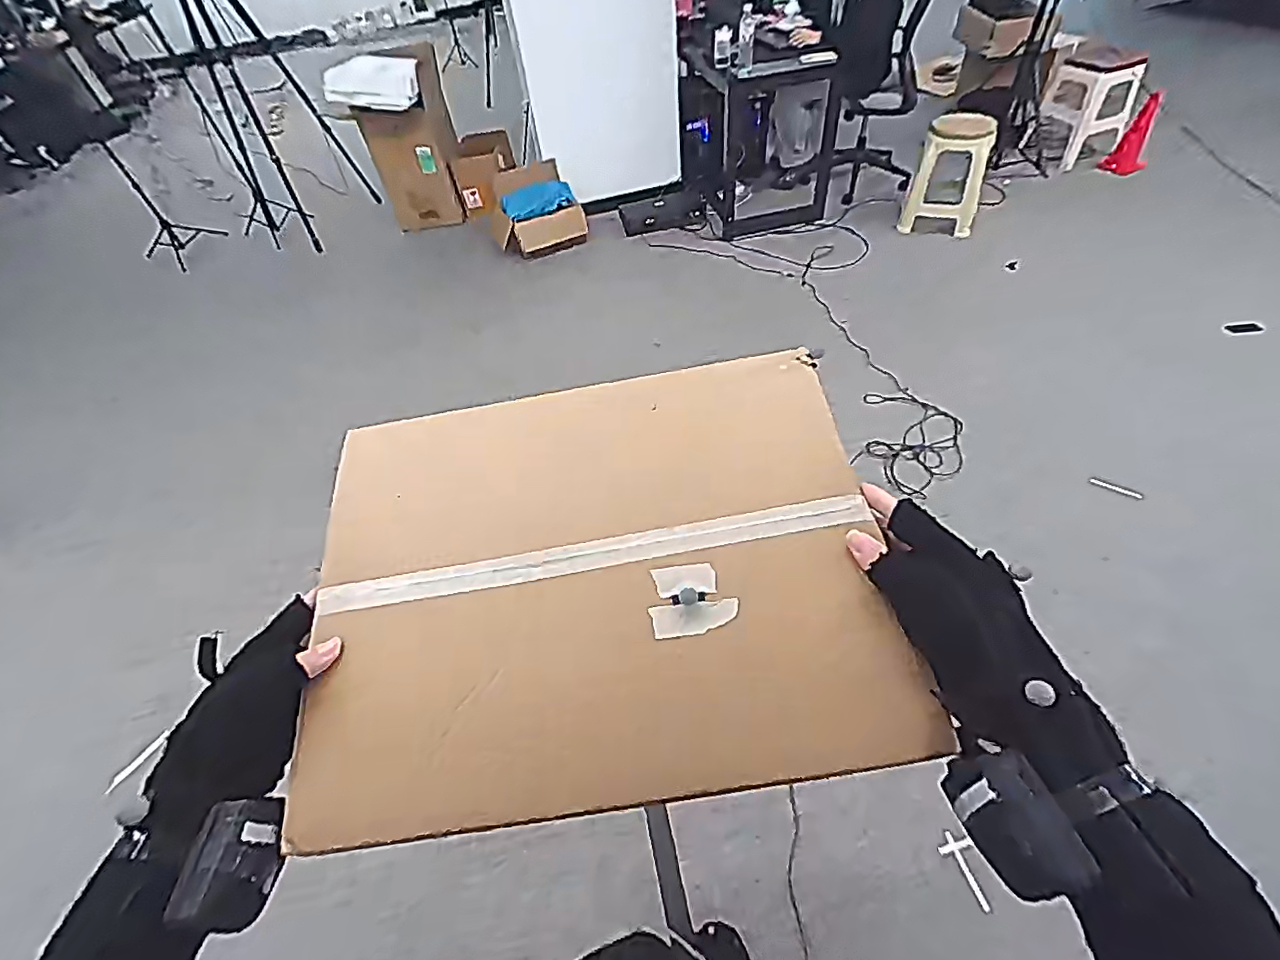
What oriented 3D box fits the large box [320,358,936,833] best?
[{"bbox_3d":[-0.015,0.129,0.539,0.408,0.320,0.320,-10,61,2],"label":"large box"}]
